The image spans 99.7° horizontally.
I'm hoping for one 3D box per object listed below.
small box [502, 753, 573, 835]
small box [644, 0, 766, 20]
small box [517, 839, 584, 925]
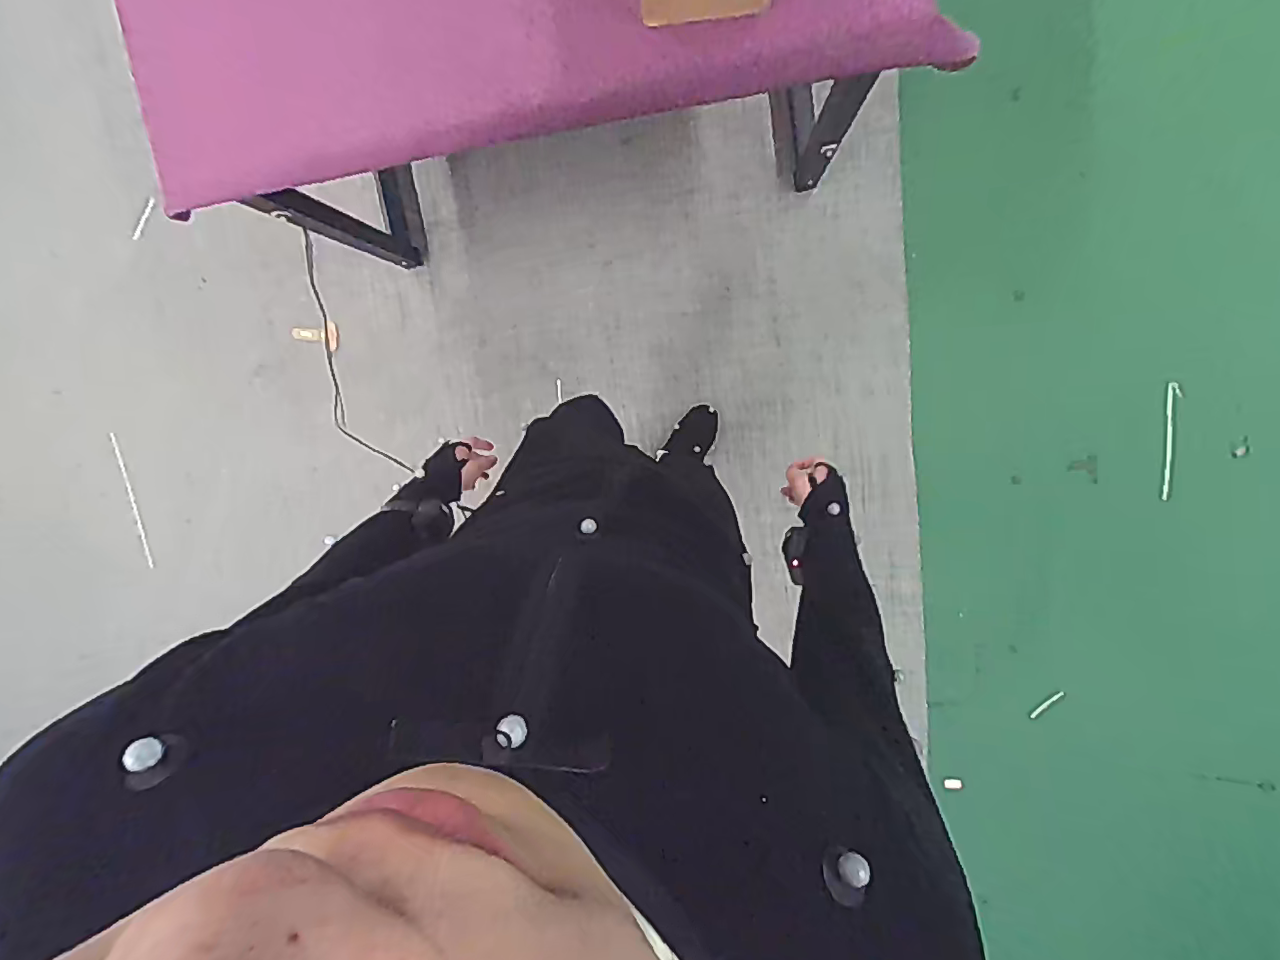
[{"bbox_3d":[-0.322,1.009,1.747,0.179,0.176,0.168,-7,99,8],"label":"small box"},{"bbox_3d":[0.082,-0.714,0.666,0.179,0.176,0.168,-1,99,7],"label":"small box"},{"bbox_3d":[-0.289,1.328,1.796,0.179,0.176,0.168,-6,99,7],"label":"small box"}]
